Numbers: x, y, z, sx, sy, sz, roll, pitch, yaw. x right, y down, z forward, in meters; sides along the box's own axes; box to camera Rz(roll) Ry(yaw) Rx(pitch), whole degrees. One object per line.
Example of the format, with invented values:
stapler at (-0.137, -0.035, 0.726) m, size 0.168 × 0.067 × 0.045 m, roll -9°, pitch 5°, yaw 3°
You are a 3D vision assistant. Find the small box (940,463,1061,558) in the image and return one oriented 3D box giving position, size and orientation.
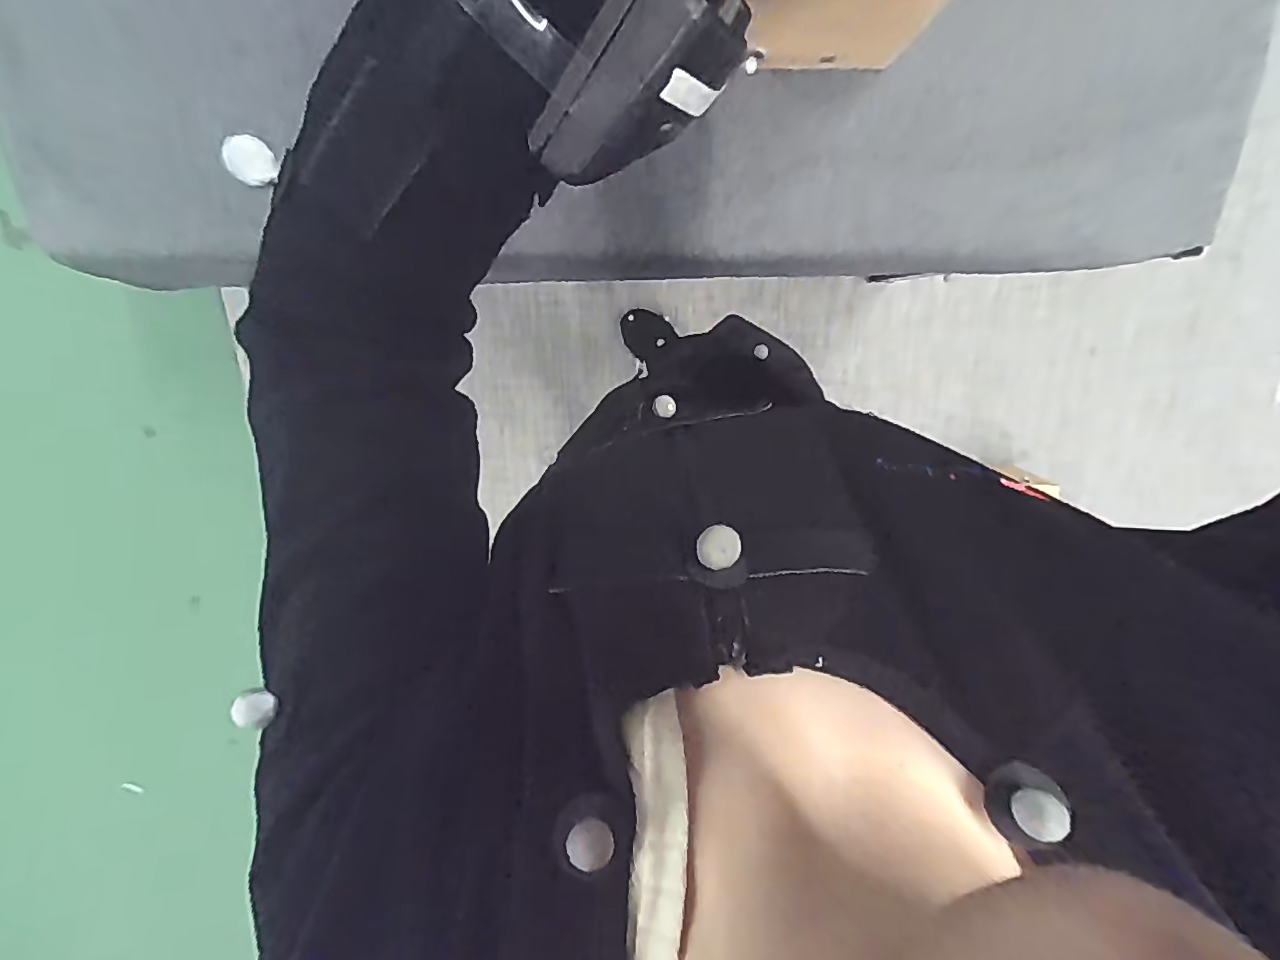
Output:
small box at (0.849, 0.069, 1.296) m, size 0.168 × 0.176 × 0.179 m, roll 3°, pitch 108°, yaw 2°

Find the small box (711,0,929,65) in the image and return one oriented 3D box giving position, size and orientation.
small box at (0.145, -0.445, 0.406) m, size 0.168 × 0.176 × 0.179 m, roll 1°, pitch 106°, yaw 1°
